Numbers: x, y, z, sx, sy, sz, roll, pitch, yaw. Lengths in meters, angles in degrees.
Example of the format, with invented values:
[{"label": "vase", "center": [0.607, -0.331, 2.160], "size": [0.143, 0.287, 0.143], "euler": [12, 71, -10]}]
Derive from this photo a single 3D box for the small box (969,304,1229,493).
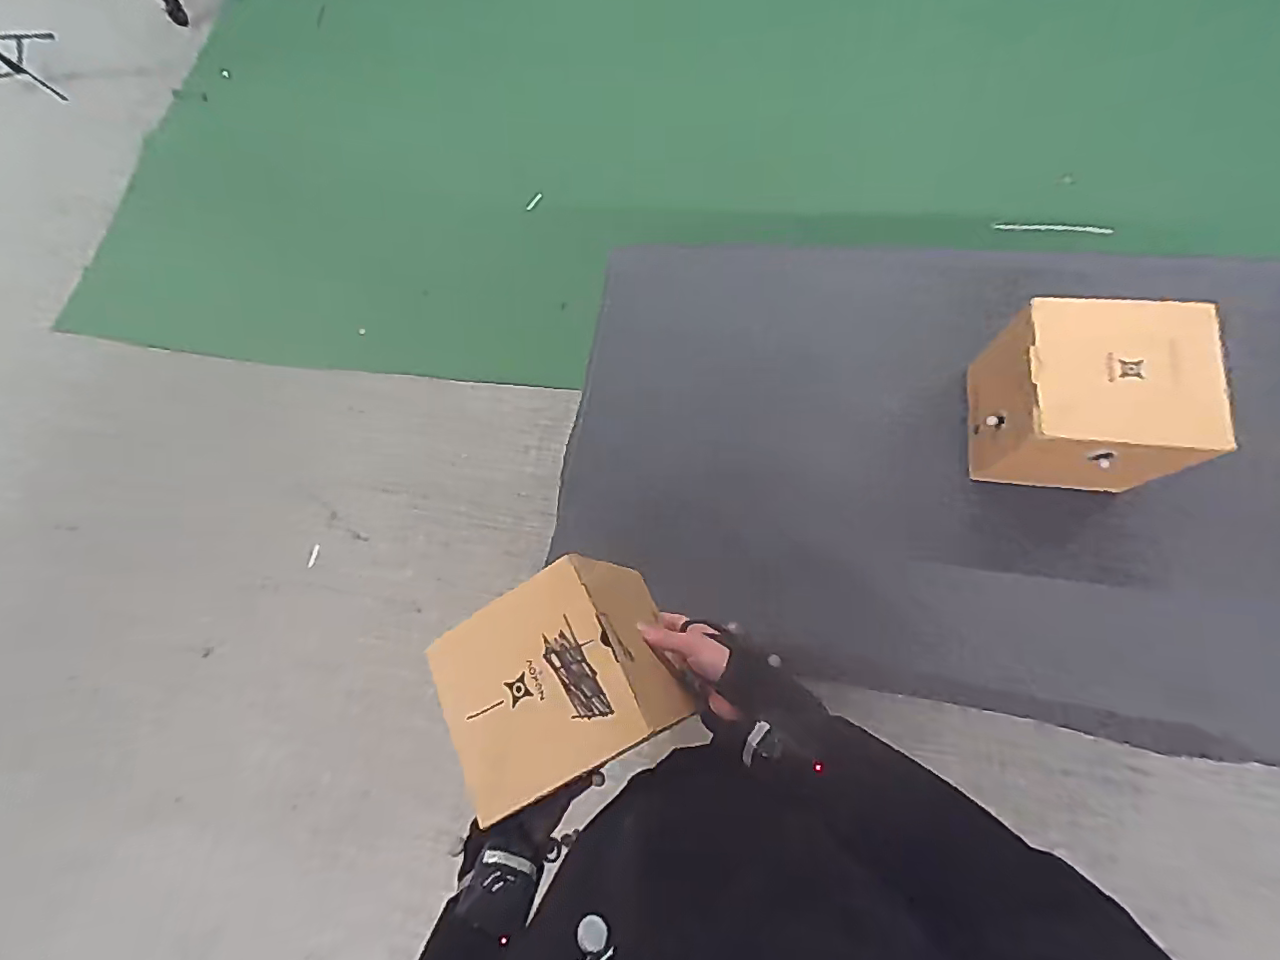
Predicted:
[{"label": "small box", "center": [0.513, -0.087, 0.639], "size": [0.179, 0.176, 0.168], "euler": [6, 76, 9]}]
